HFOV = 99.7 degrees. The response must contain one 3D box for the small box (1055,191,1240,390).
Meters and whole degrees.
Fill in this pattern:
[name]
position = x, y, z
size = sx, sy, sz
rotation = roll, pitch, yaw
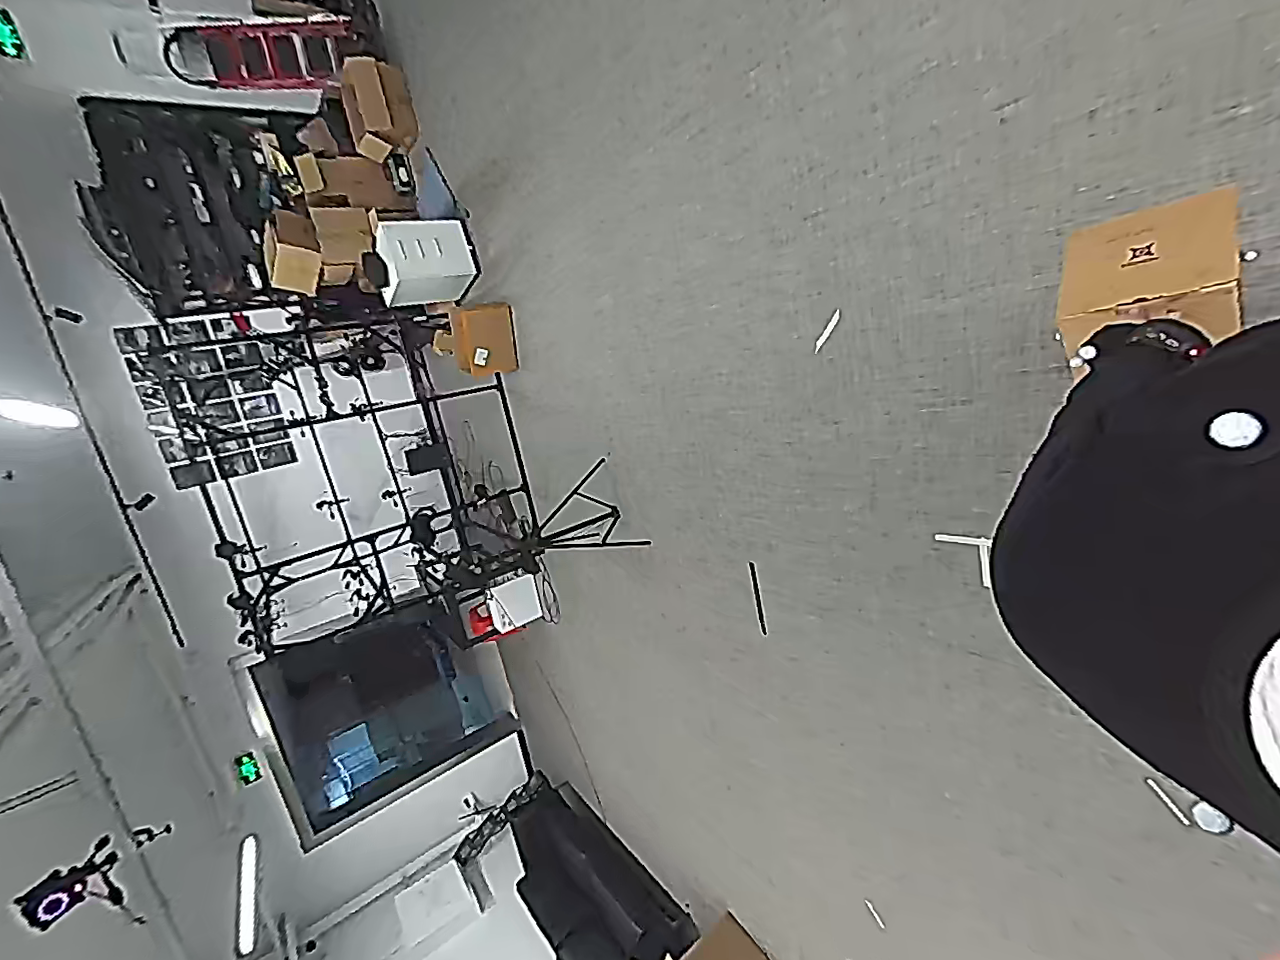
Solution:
[small box]
position = 0.691, -0.239, 0.737
size = 0.168, 0.179, 0.176
rotation = -3, 143, 47
